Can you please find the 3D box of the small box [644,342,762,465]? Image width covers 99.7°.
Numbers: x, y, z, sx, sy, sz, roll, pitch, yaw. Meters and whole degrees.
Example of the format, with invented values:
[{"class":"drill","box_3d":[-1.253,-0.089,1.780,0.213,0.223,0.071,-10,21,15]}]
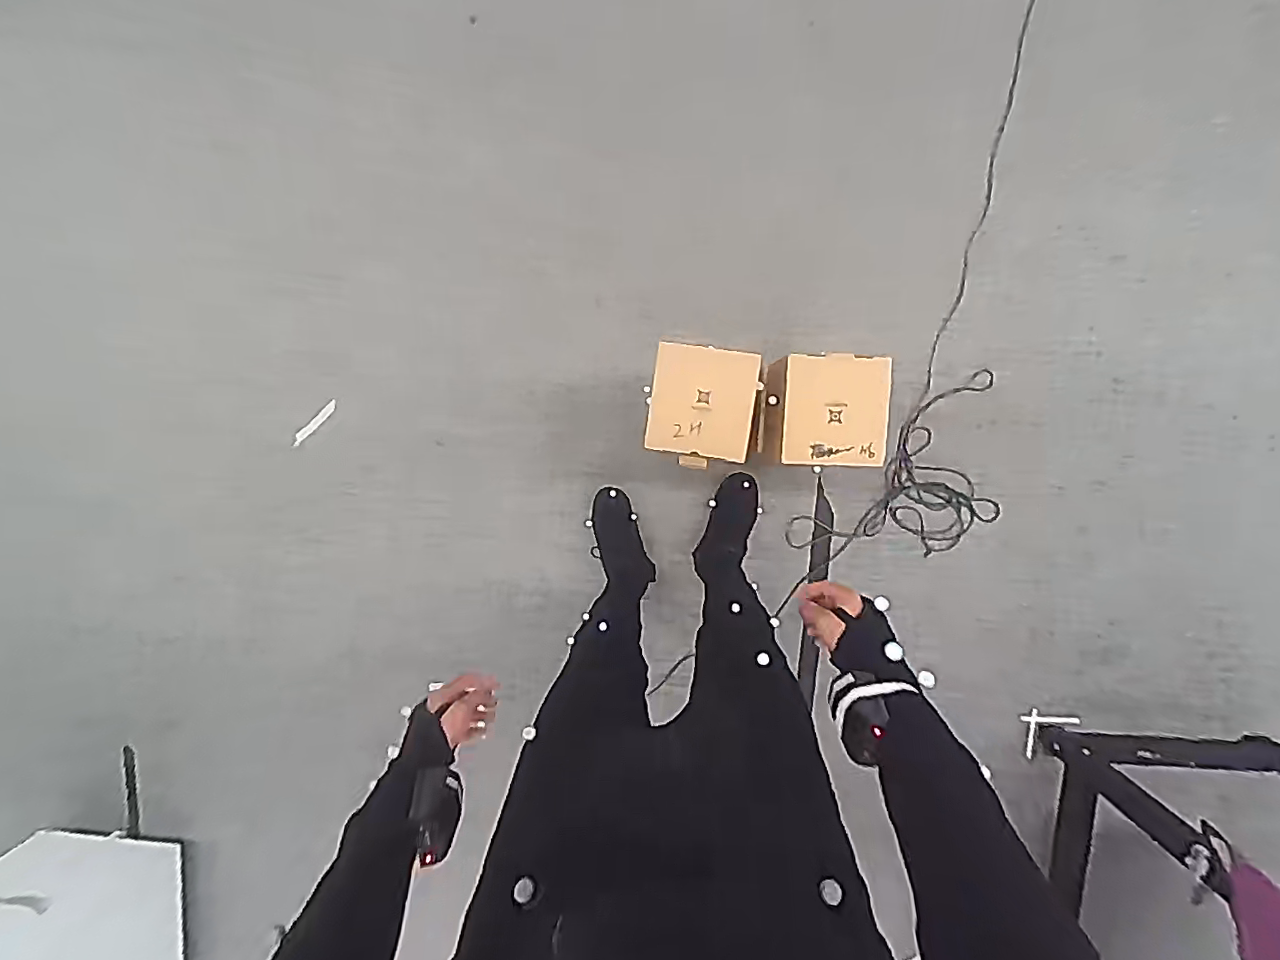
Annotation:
[{"class":"small box","box_3d":[0.102,-0.128,0.928,0.168,0.176,0.179,8,97,3]}]
